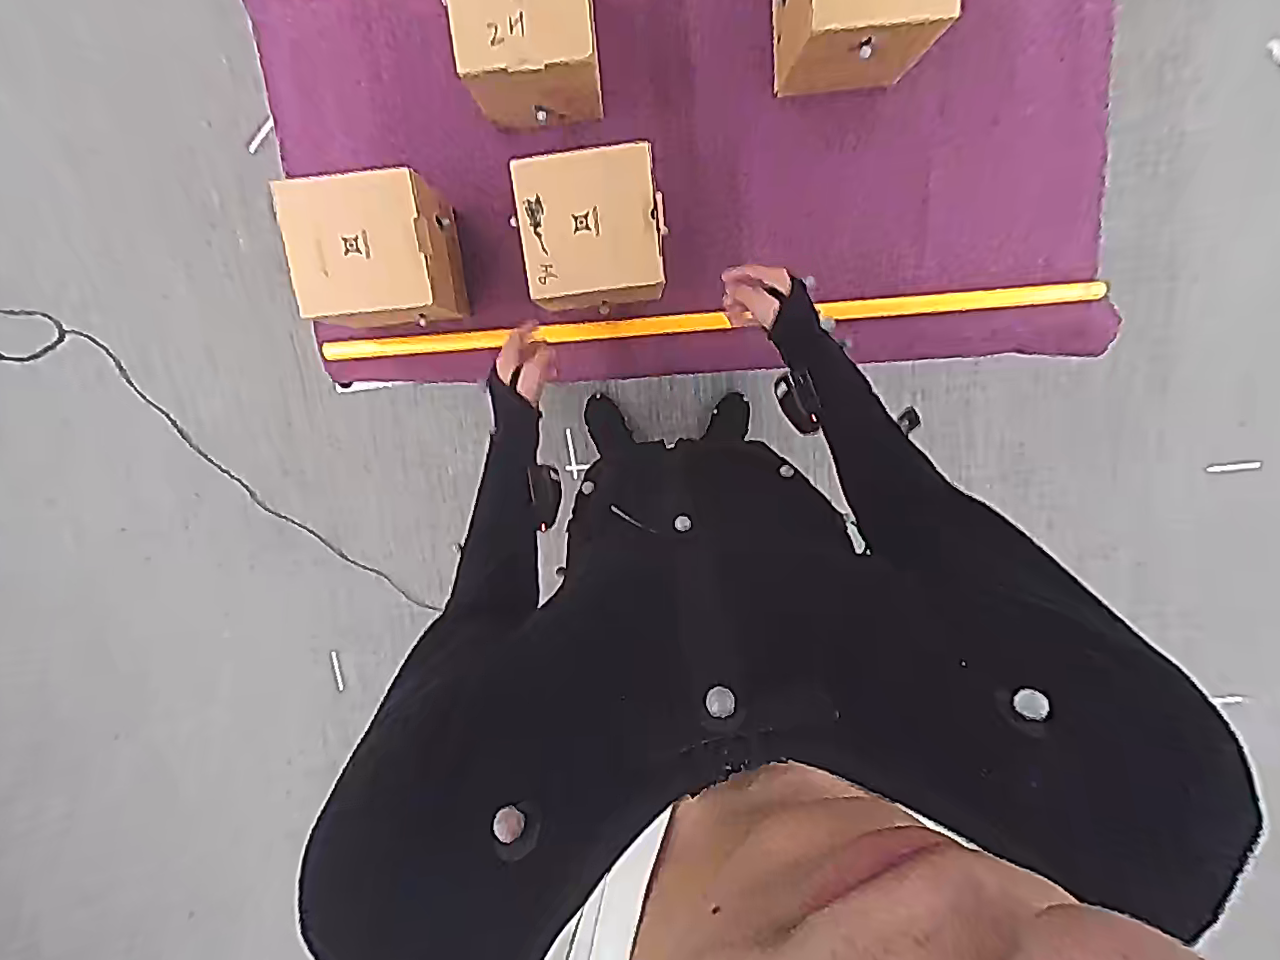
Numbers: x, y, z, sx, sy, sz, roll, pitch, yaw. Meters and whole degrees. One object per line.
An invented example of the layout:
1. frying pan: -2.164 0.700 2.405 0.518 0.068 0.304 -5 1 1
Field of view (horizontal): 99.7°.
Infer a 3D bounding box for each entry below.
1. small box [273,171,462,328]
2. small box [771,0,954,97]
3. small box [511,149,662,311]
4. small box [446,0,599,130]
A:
1. small box: -0.361 -0.311 0.758 0.179 0.176 0.168 -6 101 -1
2. small box: 0.275 -0.627 0.695 0.179 0.176 0.168 -5 103 1
3. small box: -0.067 -0.335 0.755 0.179 0.176 0.168 -6 101 1
4. small box: -0.146 -0.590 0.702 0.168 0.176 0.179 -5 103 1
